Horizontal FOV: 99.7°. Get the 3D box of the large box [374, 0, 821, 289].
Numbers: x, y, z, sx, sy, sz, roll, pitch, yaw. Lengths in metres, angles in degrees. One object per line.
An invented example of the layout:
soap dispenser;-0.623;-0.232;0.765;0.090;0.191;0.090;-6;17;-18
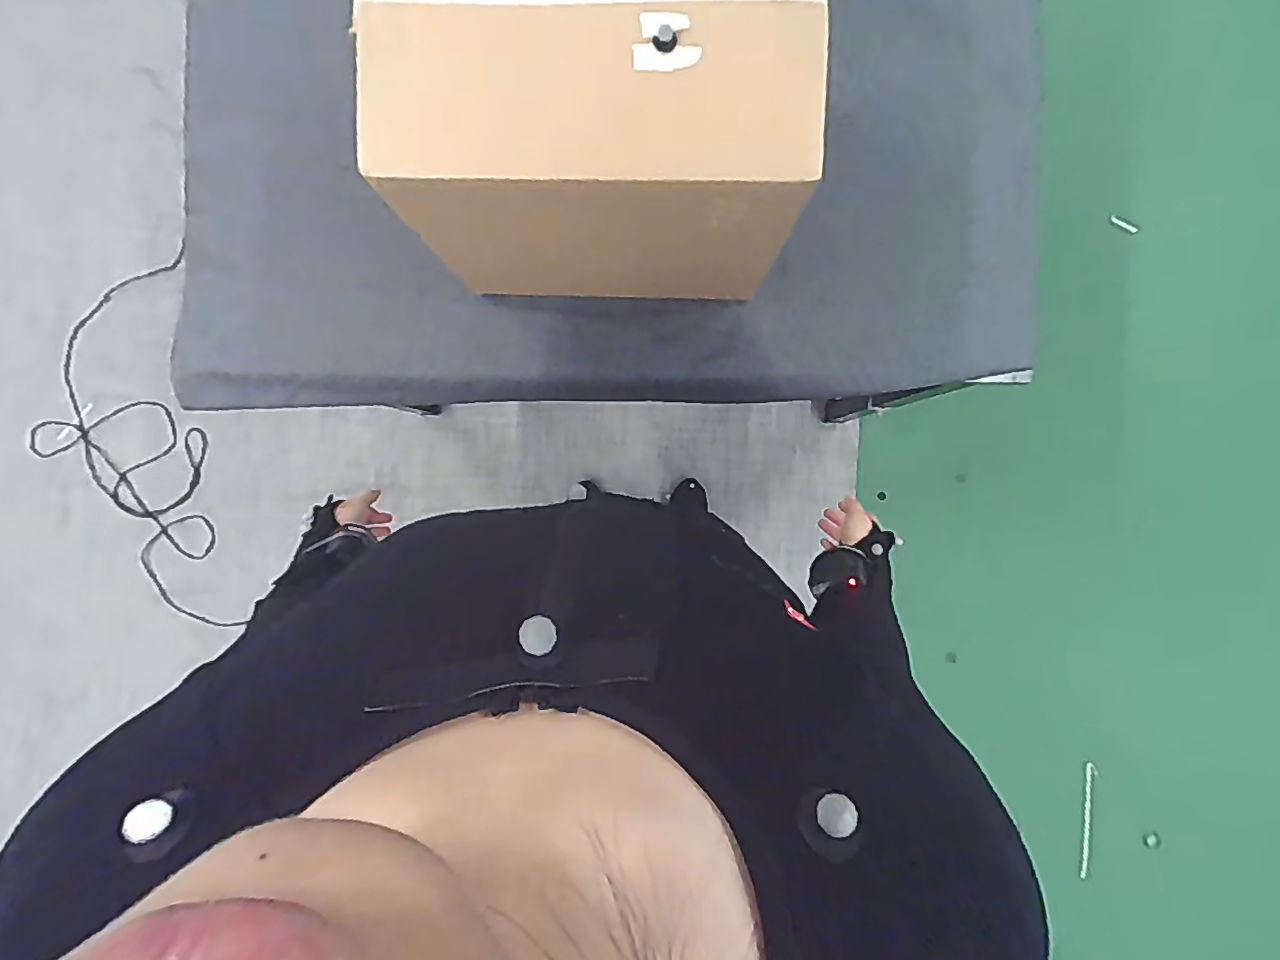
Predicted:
large box;-0.037;-0.426;0.627;0.408;0.320;0.320;1;91;1
